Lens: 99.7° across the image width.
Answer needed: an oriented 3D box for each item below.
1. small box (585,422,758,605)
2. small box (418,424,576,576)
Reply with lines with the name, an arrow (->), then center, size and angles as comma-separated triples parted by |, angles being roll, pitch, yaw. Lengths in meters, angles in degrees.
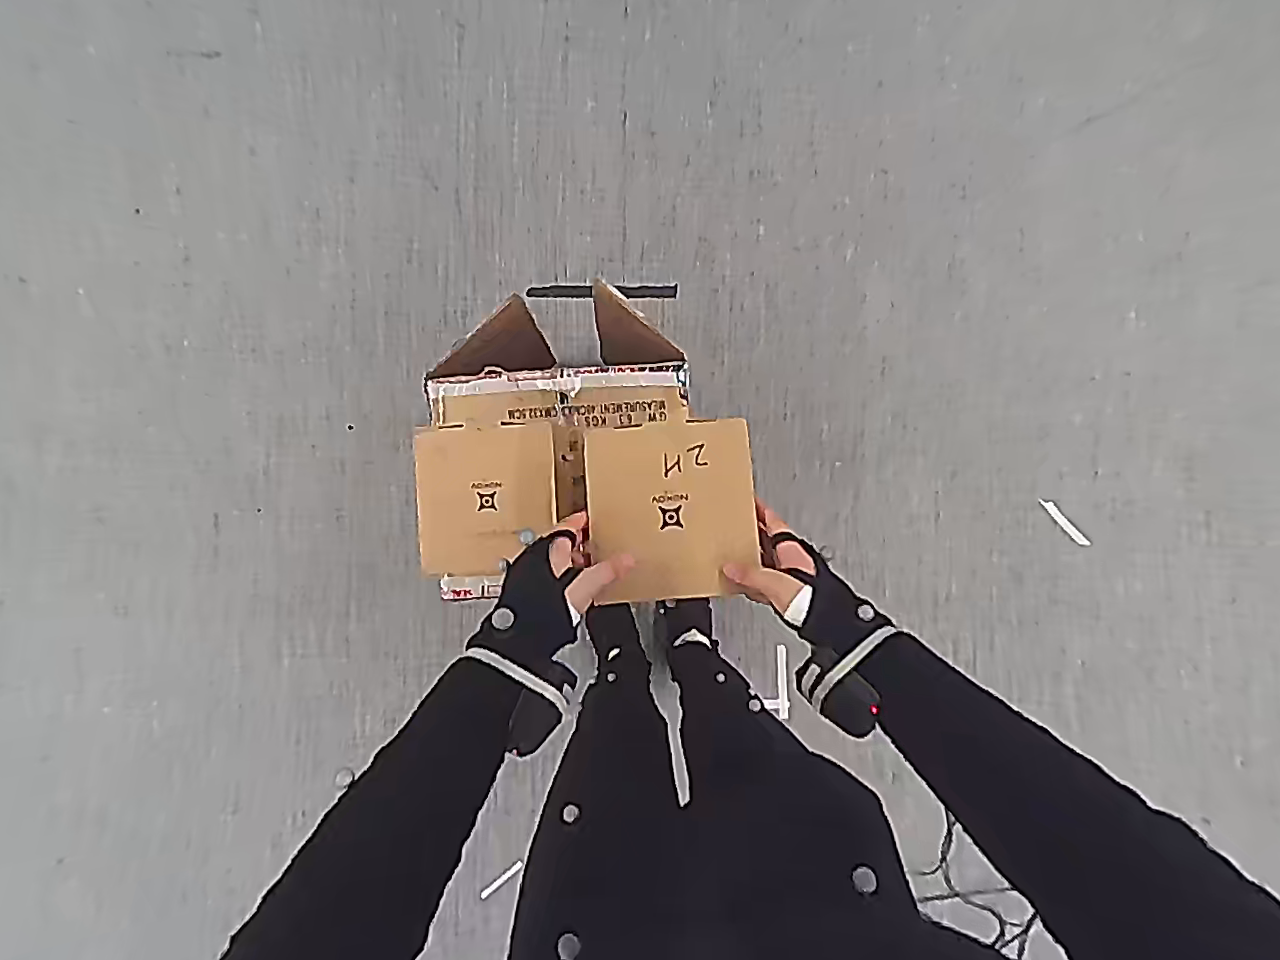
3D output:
small box -> 0.032, 0.042, 0.616 | 0.168, 0.176, 0.179 | -4, 81, 0
small box -> -0.178, 0.022, 0.721 | 0.168, 0.176, 0.179 | -3, 93, 0
